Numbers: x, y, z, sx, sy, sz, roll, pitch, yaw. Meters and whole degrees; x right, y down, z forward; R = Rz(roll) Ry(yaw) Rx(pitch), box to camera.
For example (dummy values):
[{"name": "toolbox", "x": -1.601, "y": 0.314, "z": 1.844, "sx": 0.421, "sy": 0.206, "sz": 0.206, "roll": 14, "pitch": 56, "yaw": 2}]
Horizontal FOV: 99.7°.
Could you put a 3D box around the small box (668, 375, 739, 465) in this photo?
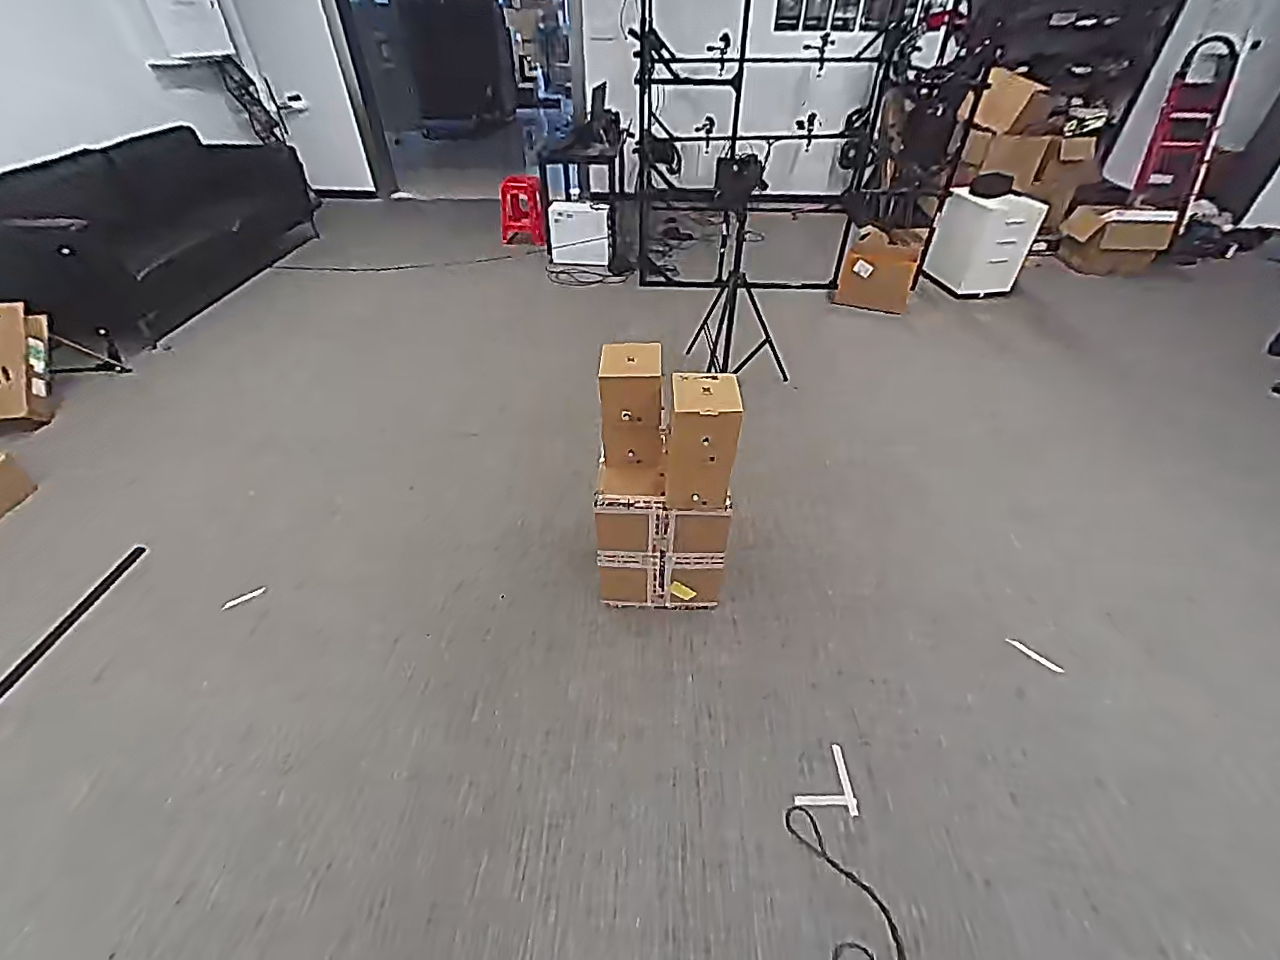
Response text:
[{"name": "small box", "x": 0.159, "y": -0.154, "z": 1.397, "sx": 0.168, "sy": 0.176, "sz": 0.179, "roll": 1, "pitch": 43, "yaw": 1}]

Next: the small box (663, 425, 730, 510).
[{"name": "small box", "x": 0.152, "y": -0.037, "z": 1.512, "sx": 0.168, "sy": 0.176, "sz": 0.179, "roll": 0, "pitch": 44, "yaw": 0}]

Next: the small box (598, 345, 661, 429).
[{"name": "small box", "x": -0.025, "y": -0.261, "z": 1.516, "sx": 0.168, "sy": 0.176, "sz": 0.179, "roll": -1, "pitch": 44, "yaw": 2}]

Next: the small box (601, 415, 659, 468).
[{"name": "small box", "x": -0.027, "y": -0.155, "z": 1.642, "sx": 0.168, "sy": 0.176, "sz": 0.179, "roll": 0, "pitch": 43, "yaw": 2}]
